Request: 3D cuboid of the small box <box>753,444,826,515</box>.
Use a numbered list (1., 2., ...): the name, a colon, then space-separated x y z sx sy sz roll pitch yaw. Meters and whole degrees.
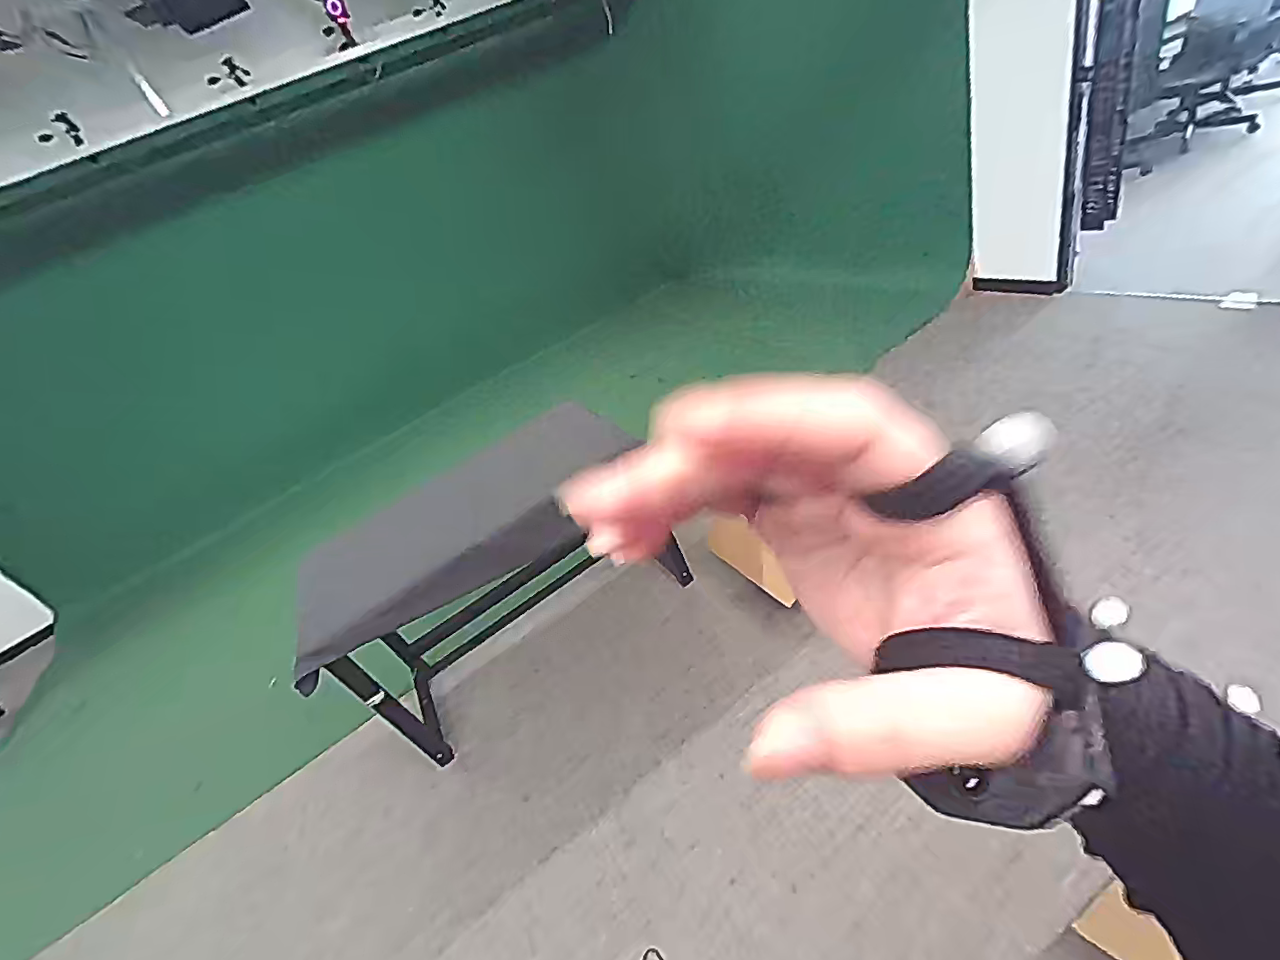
1. small box: 0.533 0.000 1.912 0.168 0.176 0.179 -38 35 -21
